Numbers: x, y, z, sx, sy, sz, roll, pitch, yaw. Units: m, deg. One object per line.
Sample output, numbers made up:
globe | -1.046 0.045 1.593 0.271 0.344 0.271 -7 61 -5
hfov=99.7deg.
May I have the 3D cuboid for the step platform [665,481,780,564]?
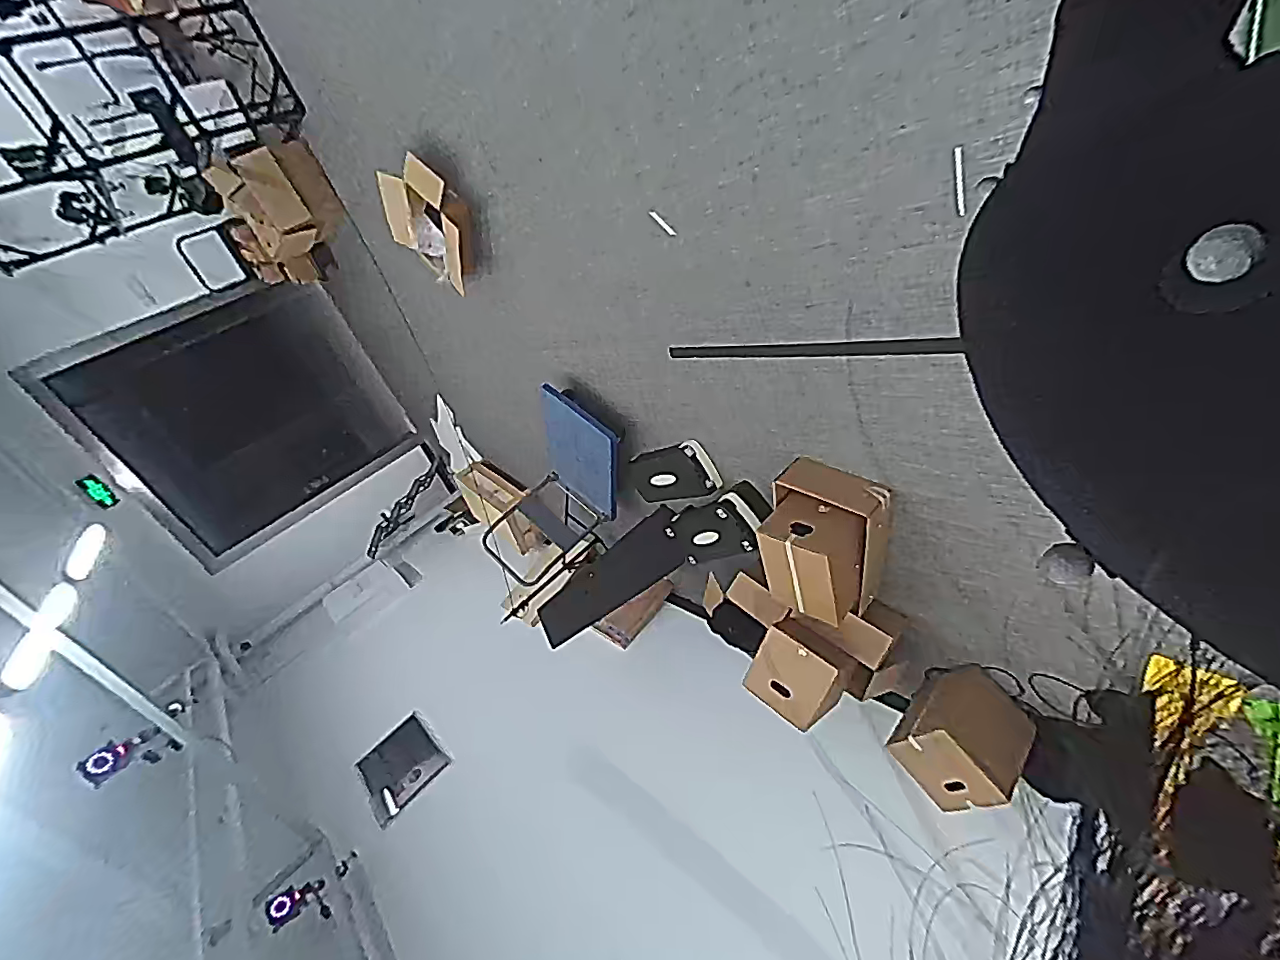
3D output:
step platform | 0.396 0.240 2.786 0.286 0.204 0.684 51 152 -3
